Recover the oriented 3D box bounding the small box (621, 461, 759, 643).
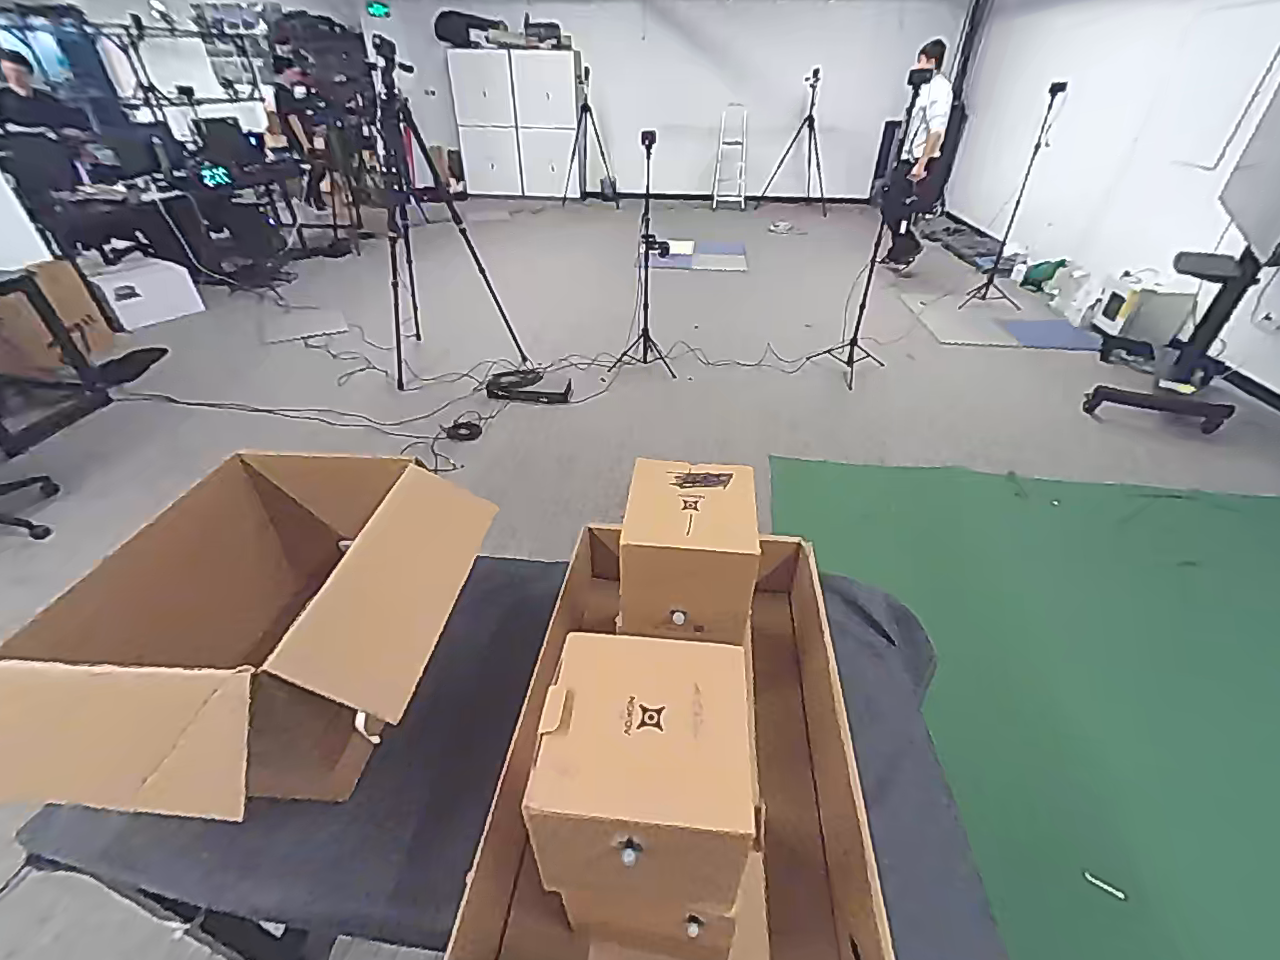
[{"bbox_3d":[0.066,0.095,0.744,0.168,0.176,0.179,4,38,5],"label":"small box"}]

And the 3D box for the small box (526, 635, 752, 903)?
[{"bbox_3d":[0.006,0.272,0.515,0.179,0.176,0.168,4,37,4],"label":"small box"}]
